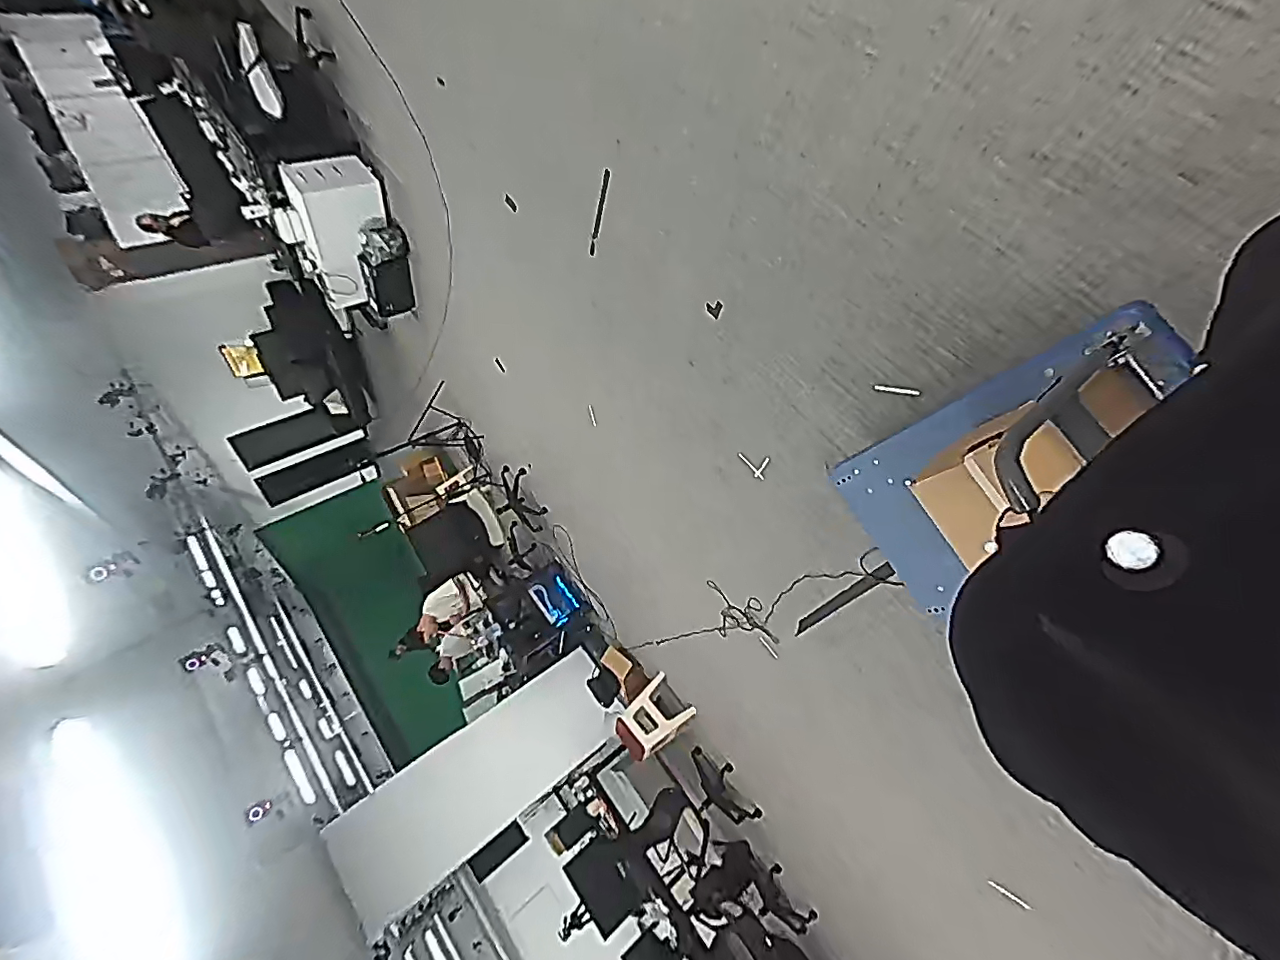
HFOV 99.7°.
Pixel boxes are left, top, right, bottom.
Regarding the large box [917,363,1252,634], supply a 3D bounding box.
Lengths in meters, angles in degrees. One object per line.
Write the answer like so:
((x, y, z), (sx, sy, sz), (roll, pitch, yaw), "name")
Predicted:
((0.879, 0.043, 1.097), (0.408, 0.320, 0.320), (57, 150, 7), "large box")
